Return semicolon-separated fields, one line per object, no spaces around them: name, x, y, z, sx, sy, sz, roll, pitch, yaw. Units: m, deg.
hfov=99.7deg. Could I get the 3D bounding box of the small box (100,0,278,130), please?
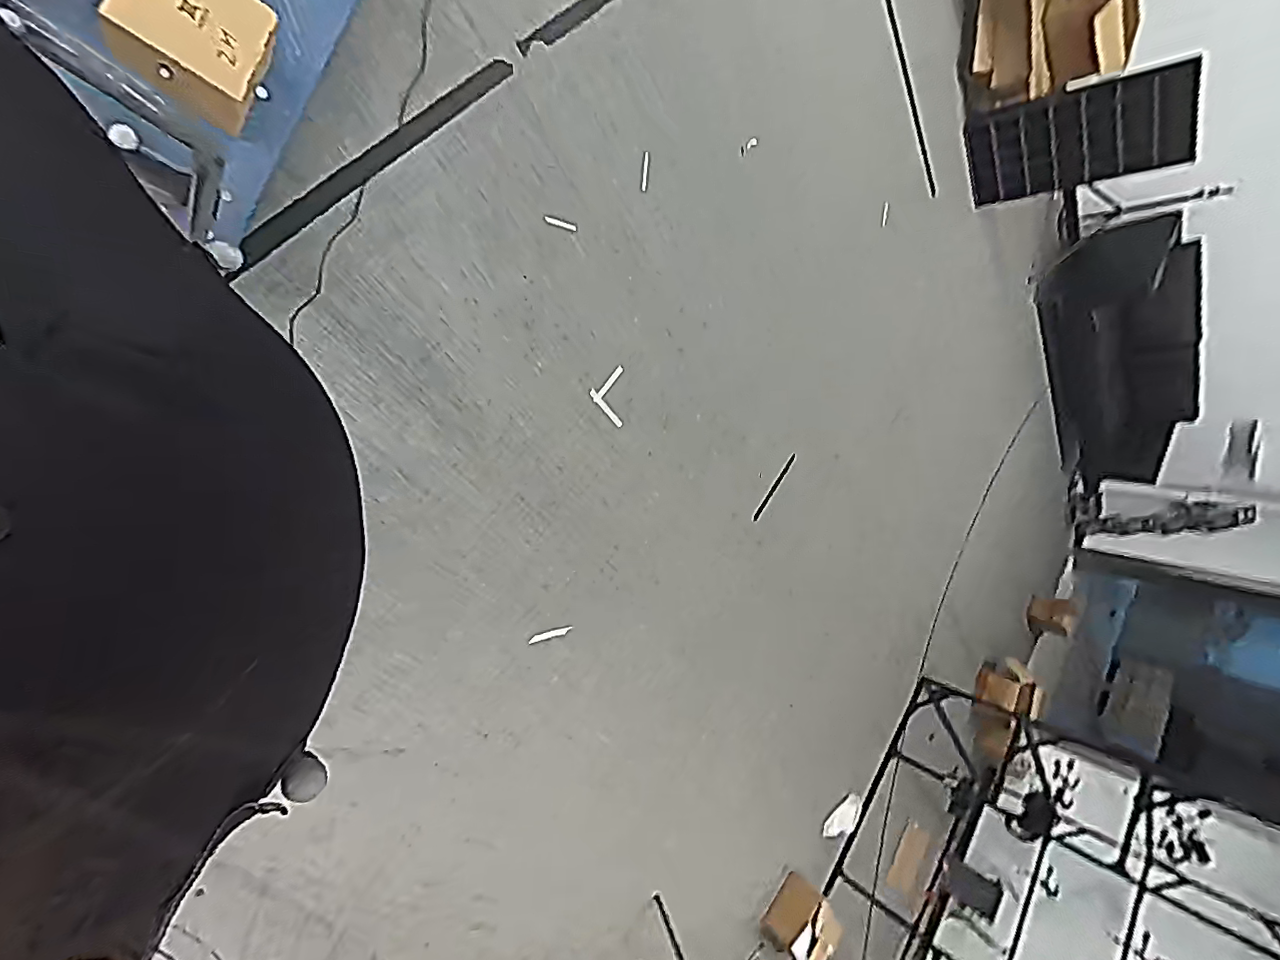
small box;-0.732;-0.724;0.890;0.179;0.176;0.168;22;84;-40
